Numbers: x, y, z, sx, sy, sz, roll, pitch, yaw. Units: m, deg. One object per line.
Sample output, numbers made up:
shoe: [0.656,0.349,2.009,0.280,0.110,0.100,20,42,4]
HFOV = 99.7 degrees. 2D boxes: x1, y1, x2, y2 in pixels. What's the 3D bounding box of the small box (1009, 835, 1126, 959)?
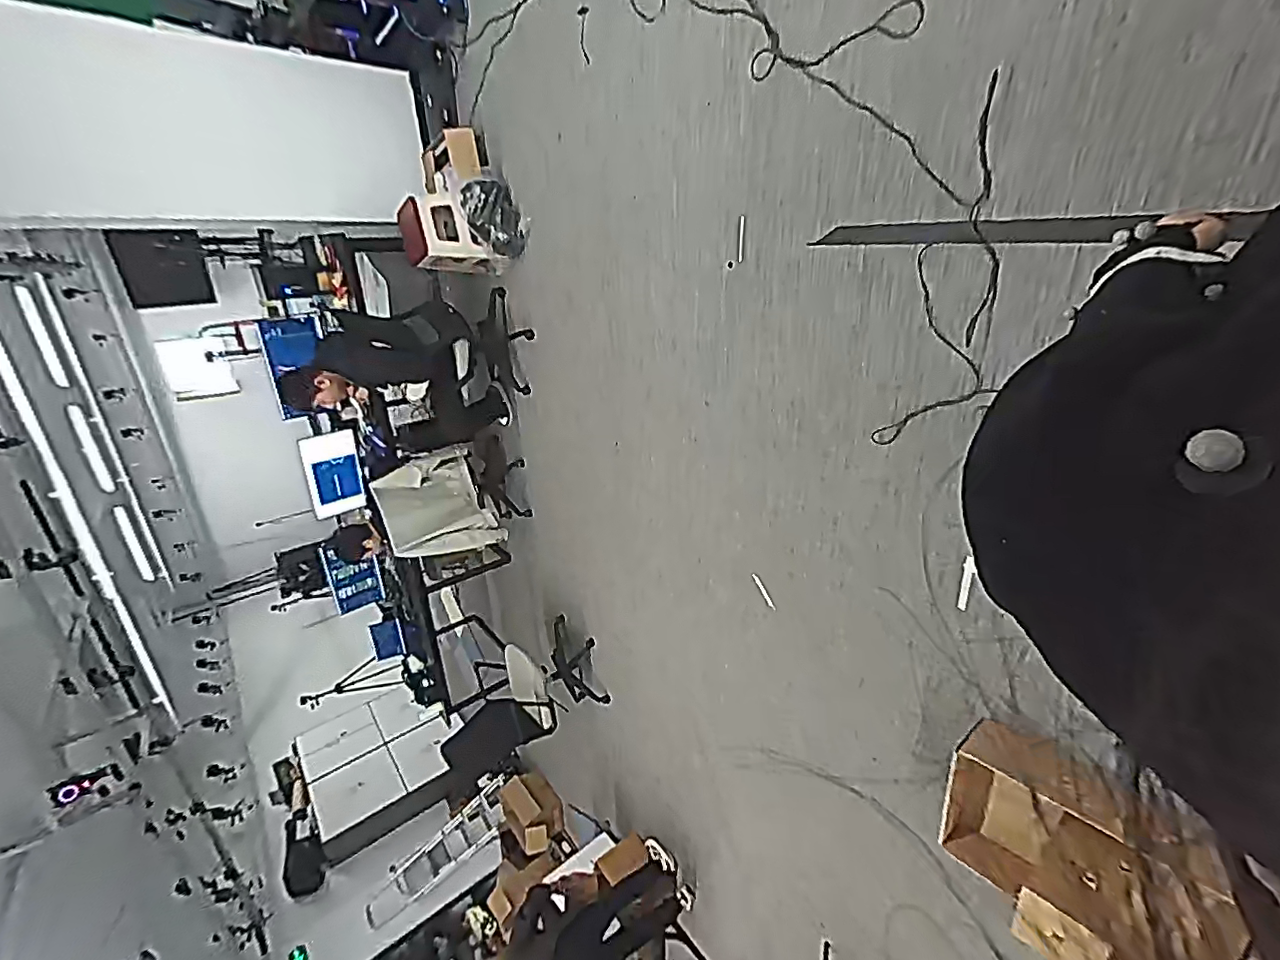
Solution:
small box: [1.002,0.997,1.268,0.168,0.176,0.179,19,121,48]
